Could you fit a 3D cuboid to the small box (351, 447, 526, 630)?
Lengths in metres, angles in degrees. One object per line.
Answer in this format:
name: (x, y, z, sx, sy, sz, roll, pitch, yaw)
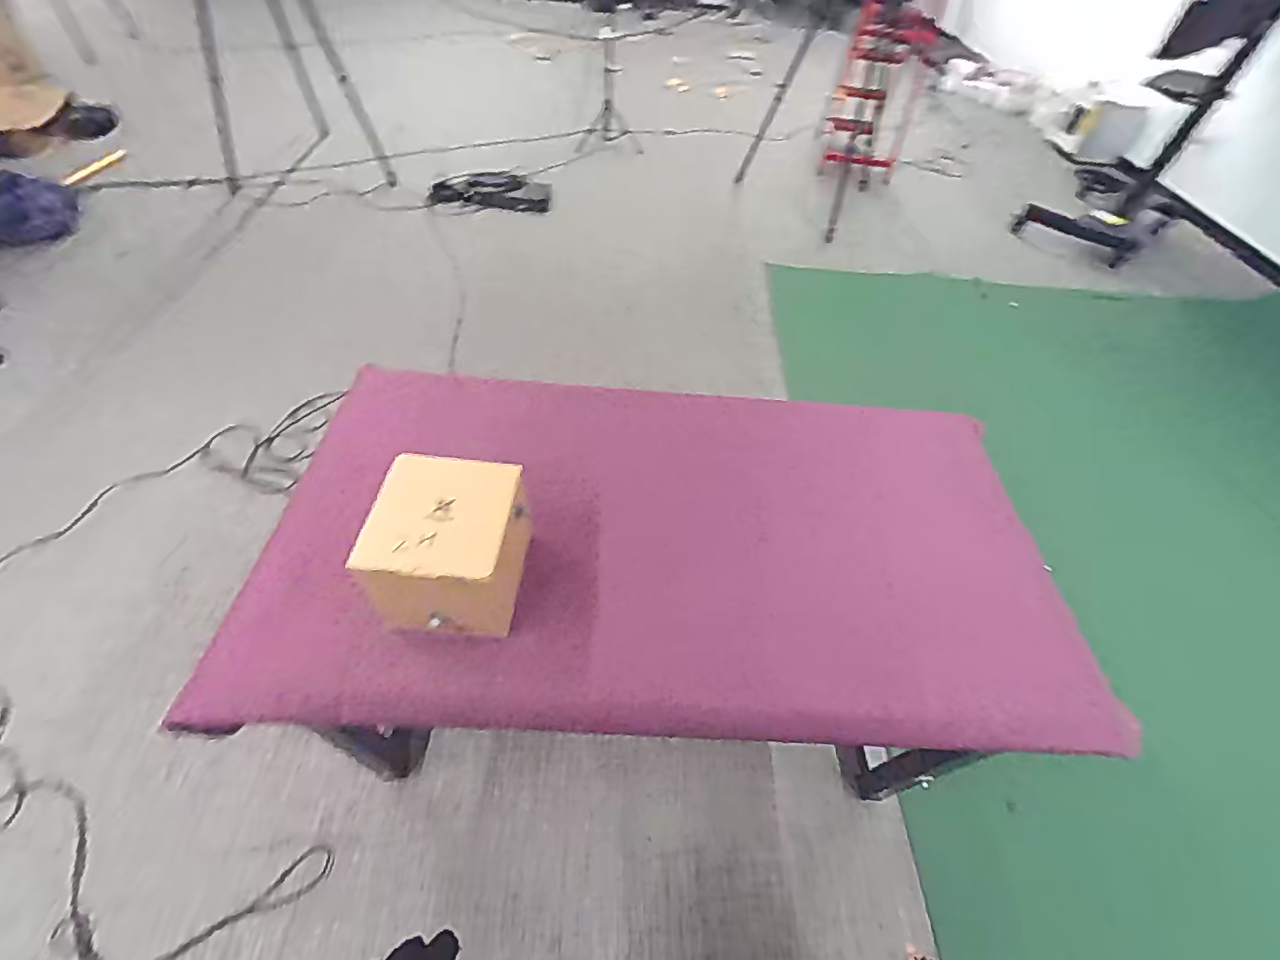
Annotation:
small box: (-0.254, 0.082, 0.735, 0.168, 0.176, 0.179, 7, 52, -2)
